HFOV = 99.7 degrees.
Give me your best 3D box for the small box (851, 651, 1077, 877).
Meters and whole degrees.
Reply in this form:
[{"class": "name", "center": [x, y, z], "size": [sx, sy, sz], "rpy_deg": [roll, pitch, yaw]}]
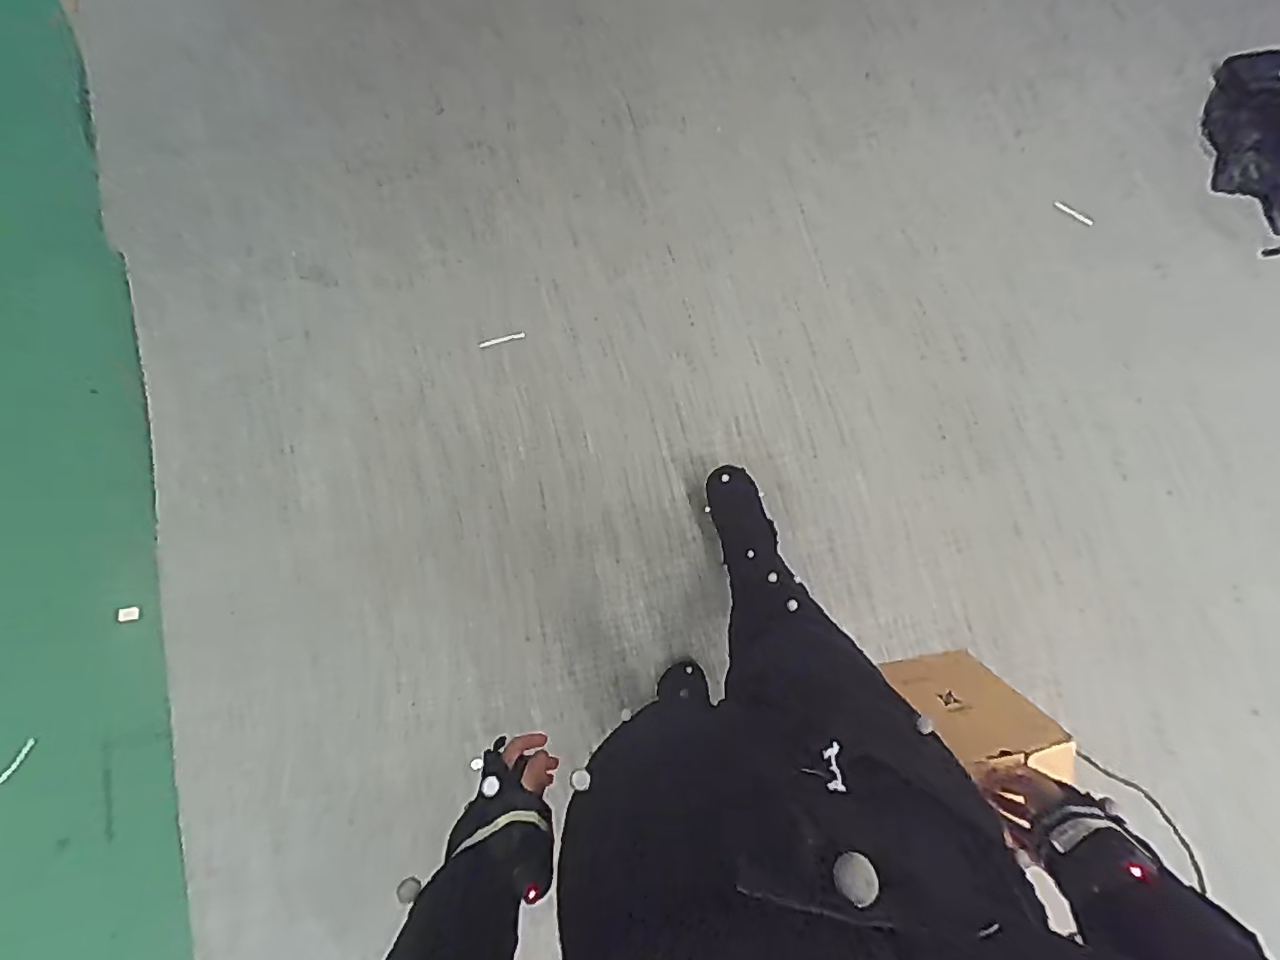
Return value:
[{"class": "small box", "center": [0.376, 0.340, 0.657], "size": [0.168, 0.179, 0.176], "rpy_deg": [-8, 105, -5]}]
